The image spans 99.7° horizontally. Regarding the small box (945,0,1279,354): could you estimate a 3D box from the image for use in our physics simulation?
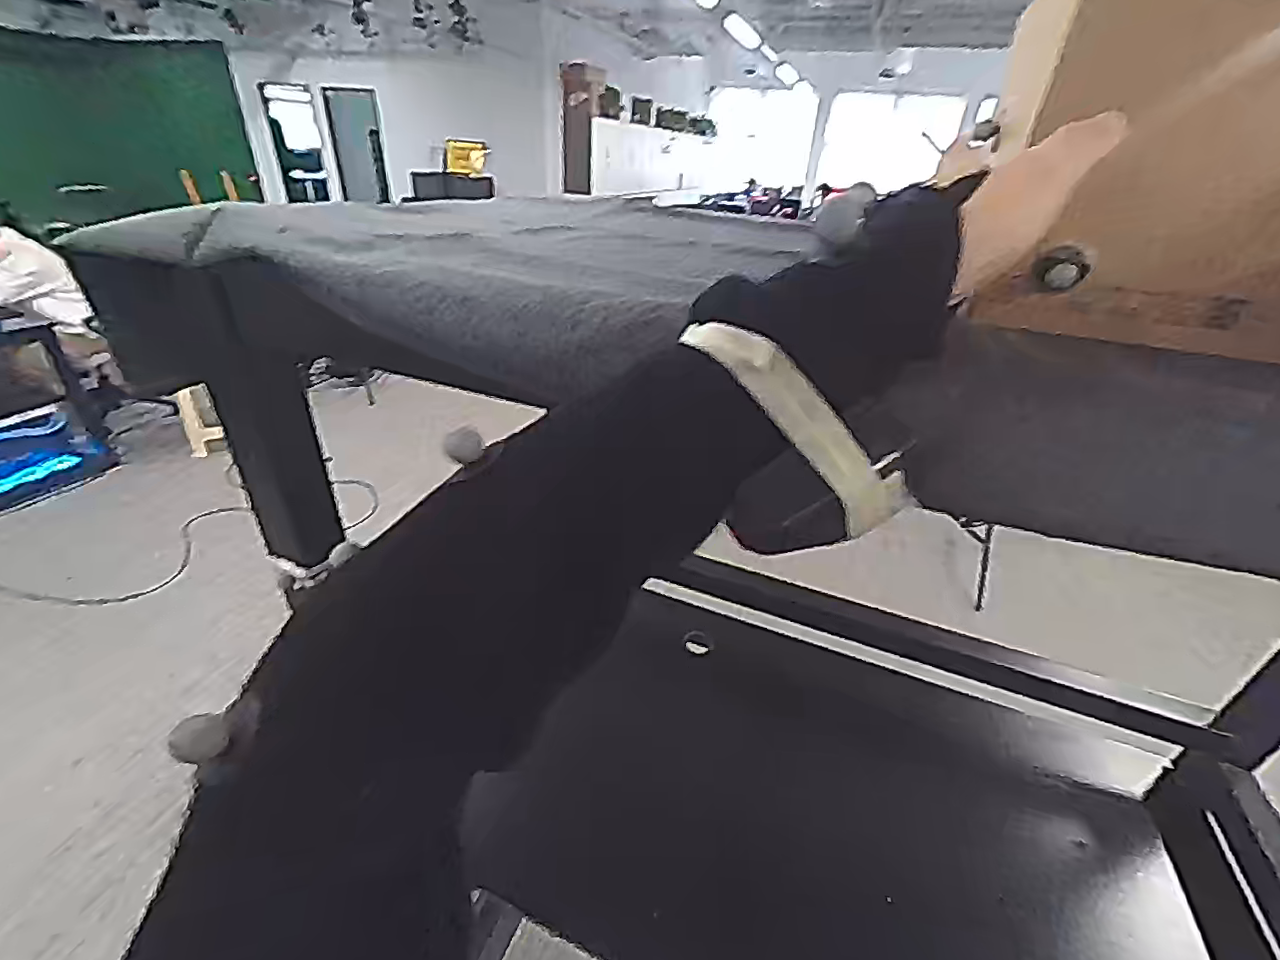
[{"bbox_3d":[0.287,-0.176,0.294,0.168,0.176,0.179,14,30,16],"label":"small box"}]
